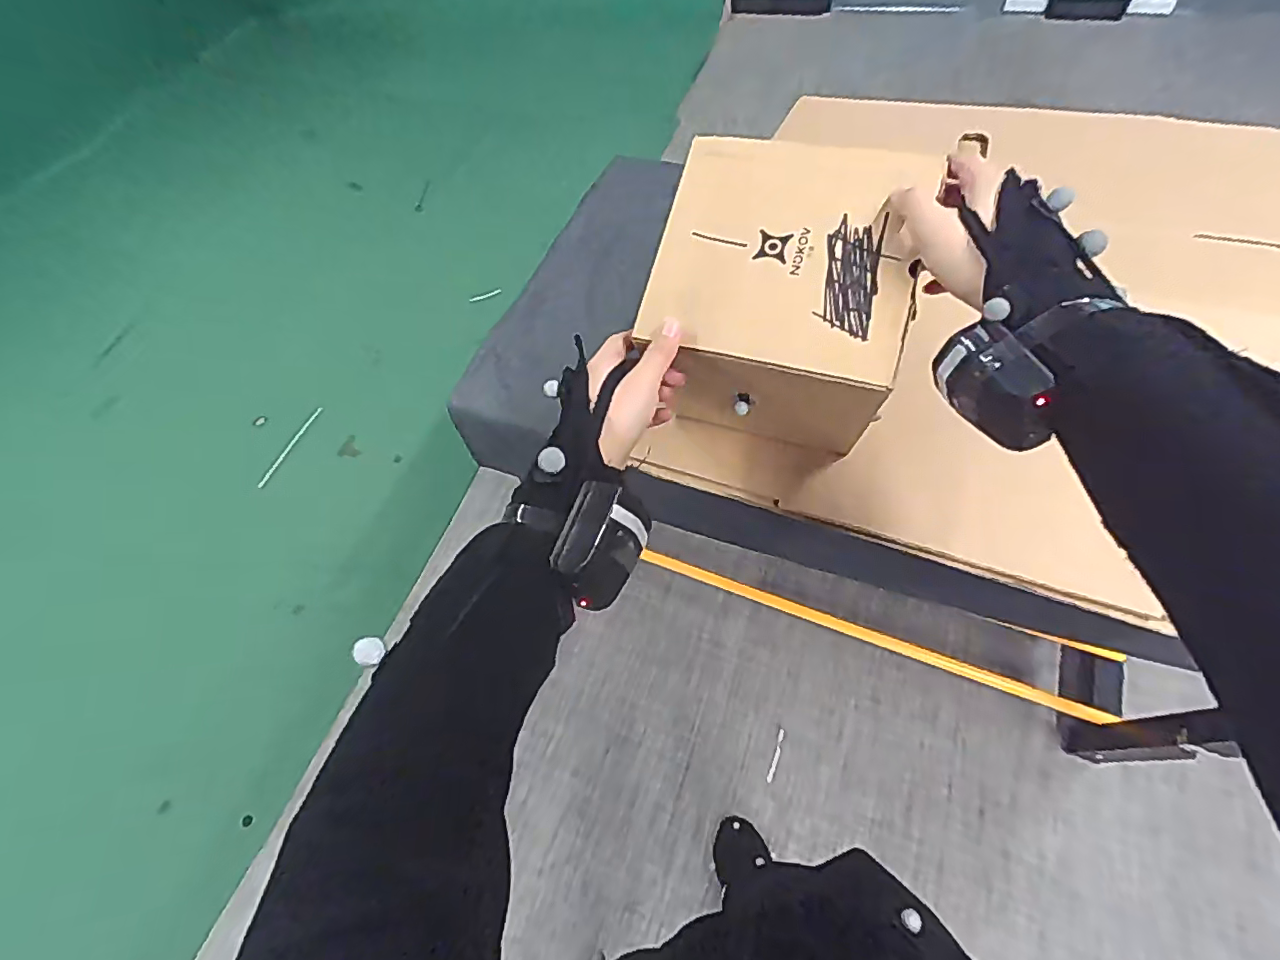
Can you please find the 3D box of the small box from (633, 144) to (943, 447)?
[{"bbox_3d":[0.116,-0.136,0.447,0.179,0.176,0.168,15,82,16],"label":"small box"}]
